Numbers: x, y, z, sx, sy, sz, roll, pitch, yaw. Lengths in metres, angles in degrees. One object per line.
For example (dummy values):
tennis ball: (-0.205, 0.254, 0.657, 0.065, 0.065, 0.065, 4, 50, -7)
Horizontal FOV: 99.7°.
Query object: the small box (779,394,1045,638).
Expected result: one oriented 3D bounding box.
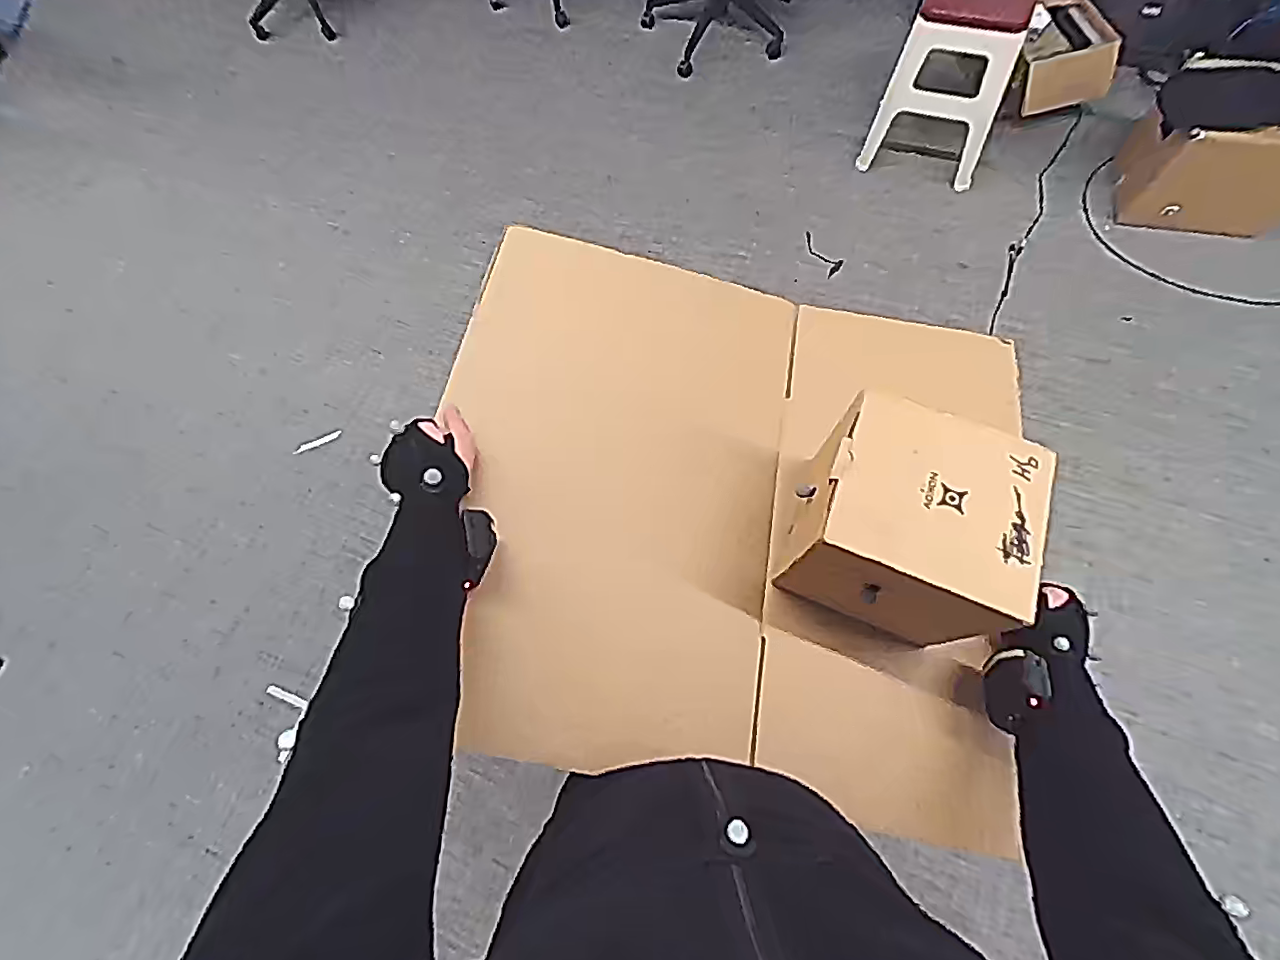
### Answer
small box: (0.257, 0.046, 0.546, 0.179, 0.176, 0.168, 21, 69, 9)
